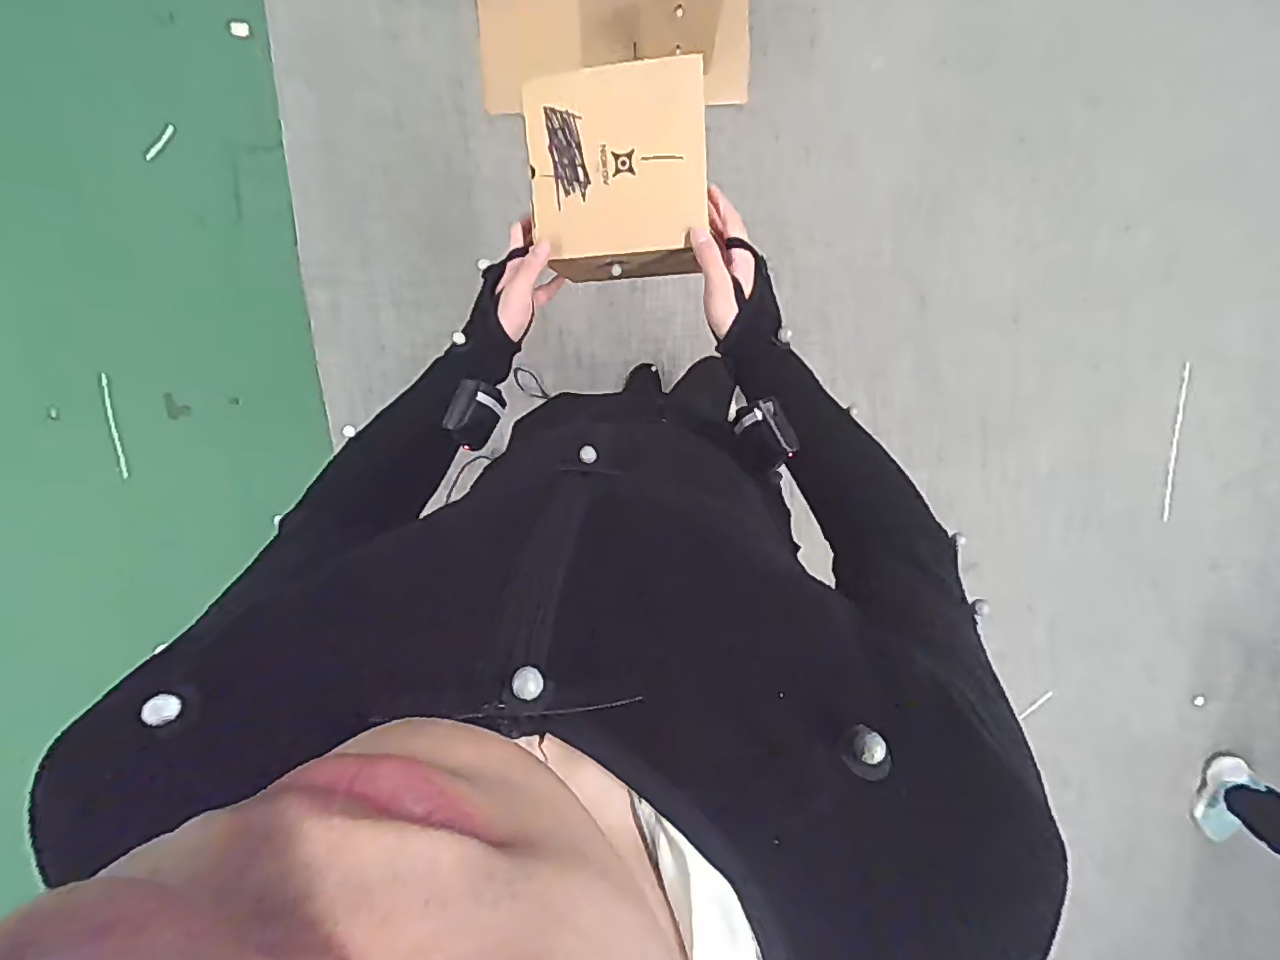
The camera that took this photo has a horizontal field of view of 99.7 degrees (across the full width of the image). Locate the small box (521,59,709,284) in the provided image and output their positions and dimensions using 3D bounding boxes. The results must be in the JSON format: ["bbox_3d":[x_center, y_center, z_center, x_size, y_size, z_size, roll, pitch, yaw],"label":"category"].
[{"bbox_3d":[-0.015,-0.318,0.596,0.179,0.176,0.168,-3,102,6],"label":"small box"}]

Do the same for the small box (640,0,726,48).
[{"bbox_3d":[0.087,-1.064,1.157,0.179,0.176,0.168,-1,103,2],"label":"small box"}]

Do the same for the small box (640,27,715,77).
[{"bbox_3d":[0.089,-1.104,1.314,0.179,0.176,0.168,0,102,1],"label":"small box"}]
